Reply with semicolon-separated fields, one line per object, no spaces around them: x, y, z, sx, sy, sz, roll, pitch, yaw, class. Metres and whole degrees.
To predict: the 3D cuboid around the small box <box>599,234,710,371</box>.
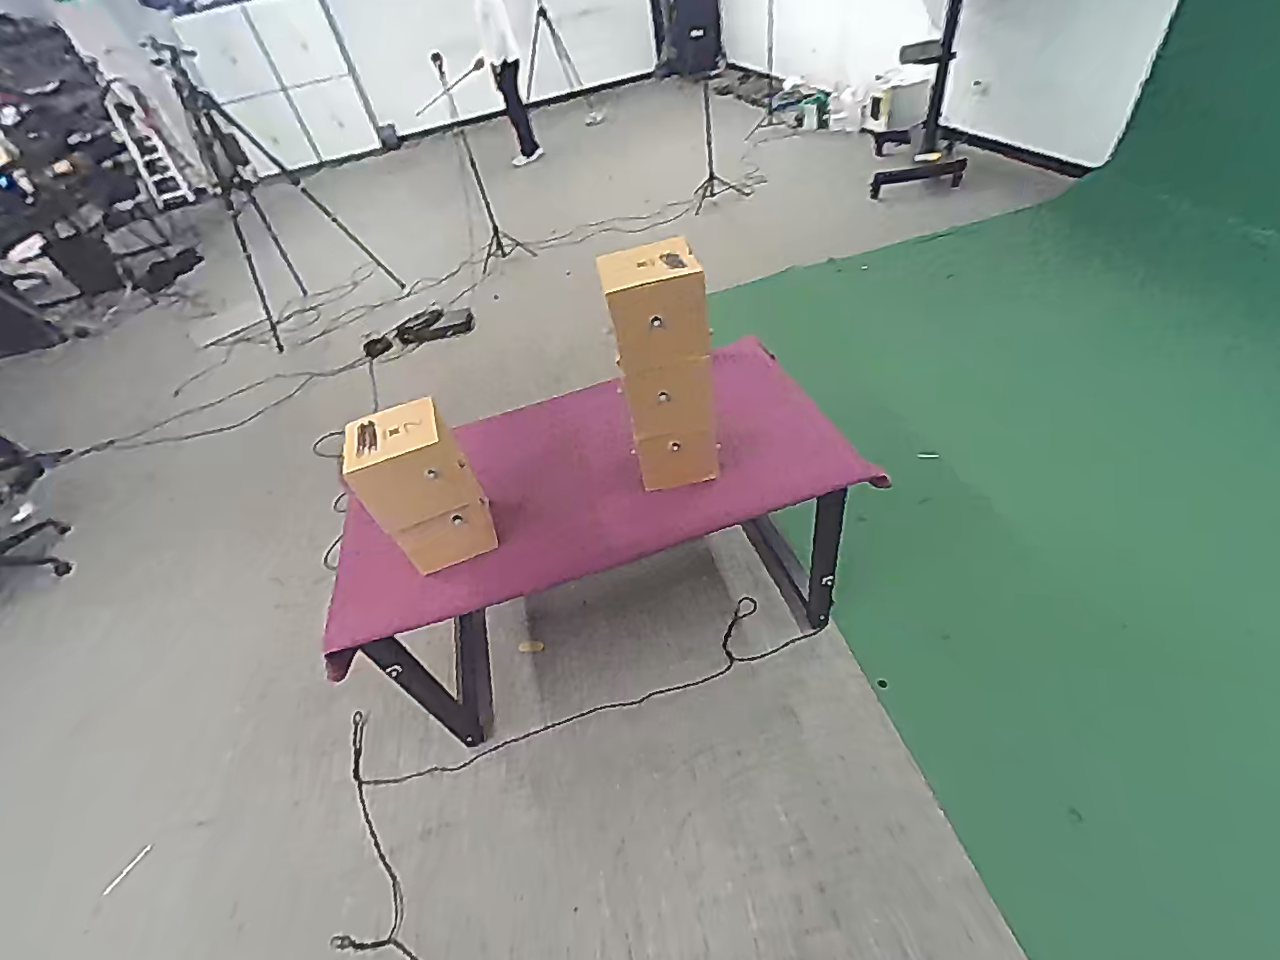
0.031;-0.332;1.019;0.179;0.176;0.168;-13;45;1;small box

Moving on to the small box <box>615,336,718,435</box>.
0.057;-0.216;1.133;0.179;0.176;0.168;-13;45;2;small box

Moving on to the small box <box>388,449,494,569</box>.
-0.434;0.066;1.195;0.179;0.176;0.168;-21;45;-8;small box

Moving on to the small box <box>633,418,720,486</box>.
0.082;-0.103;1.248;0.179;0.176;0.168;-10;45;3;small box
